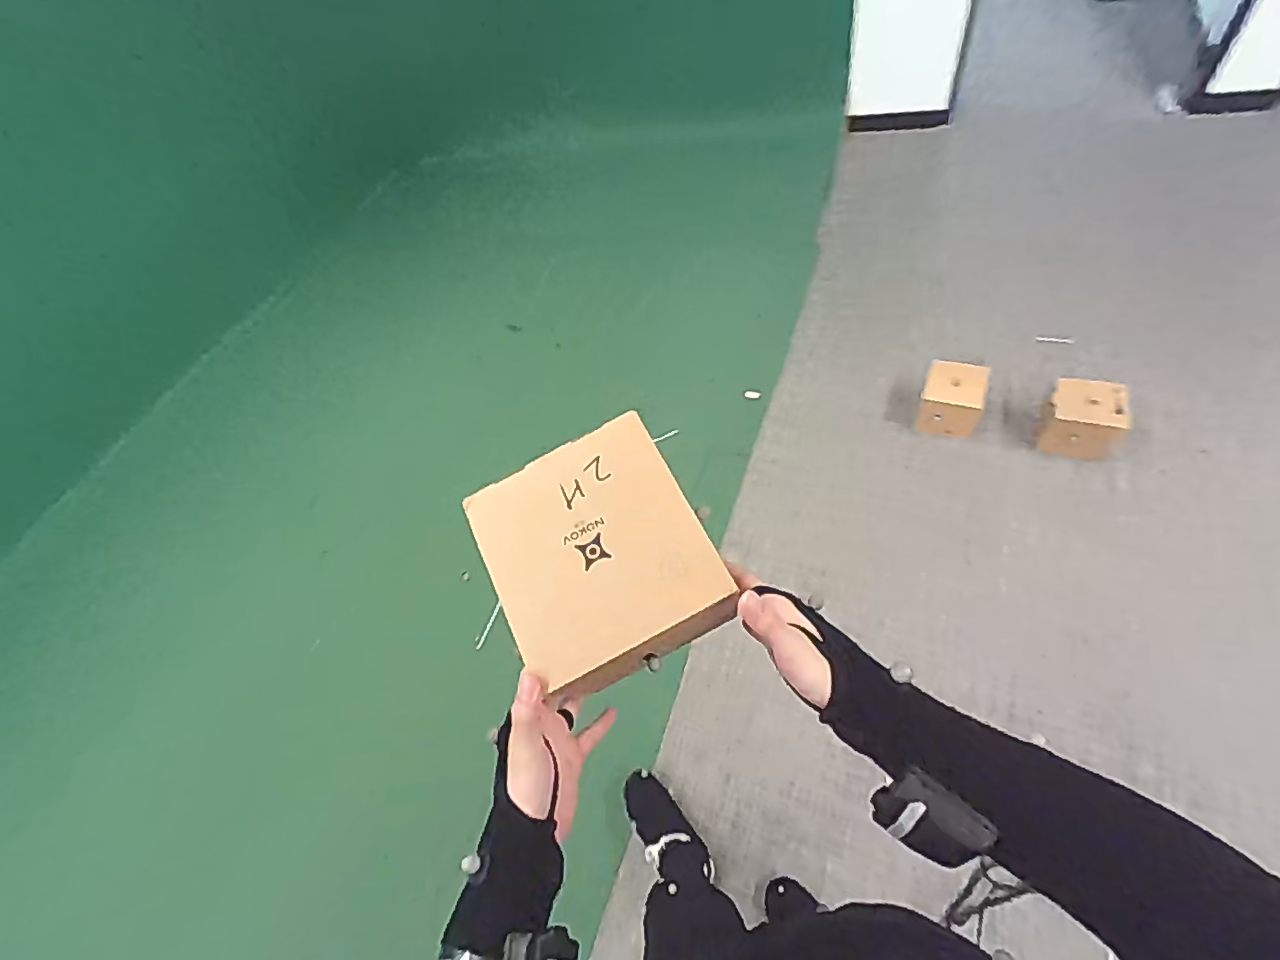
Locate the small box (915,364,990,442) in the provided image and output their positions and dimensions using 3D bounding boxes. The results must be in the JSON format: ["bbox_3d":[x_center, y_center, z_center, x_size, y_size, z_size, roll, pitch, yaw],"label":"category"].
[{"bbox_3d":[1.005,-0.246,1.749,0.168,0.176,0.179,15,61,24],"label":"small box"}]

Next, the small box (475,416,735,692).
[{"bbox_3d":[-0.020,0.077,0.506,0.168,0.176,0.179,-28,66,-1],"label":"small box"}]

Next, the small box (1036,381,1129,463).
[{"bbox_3d":[1.309,-0.170,1.611,0.179,0.176,0.168,12,61,23],"label":"small box"}]
